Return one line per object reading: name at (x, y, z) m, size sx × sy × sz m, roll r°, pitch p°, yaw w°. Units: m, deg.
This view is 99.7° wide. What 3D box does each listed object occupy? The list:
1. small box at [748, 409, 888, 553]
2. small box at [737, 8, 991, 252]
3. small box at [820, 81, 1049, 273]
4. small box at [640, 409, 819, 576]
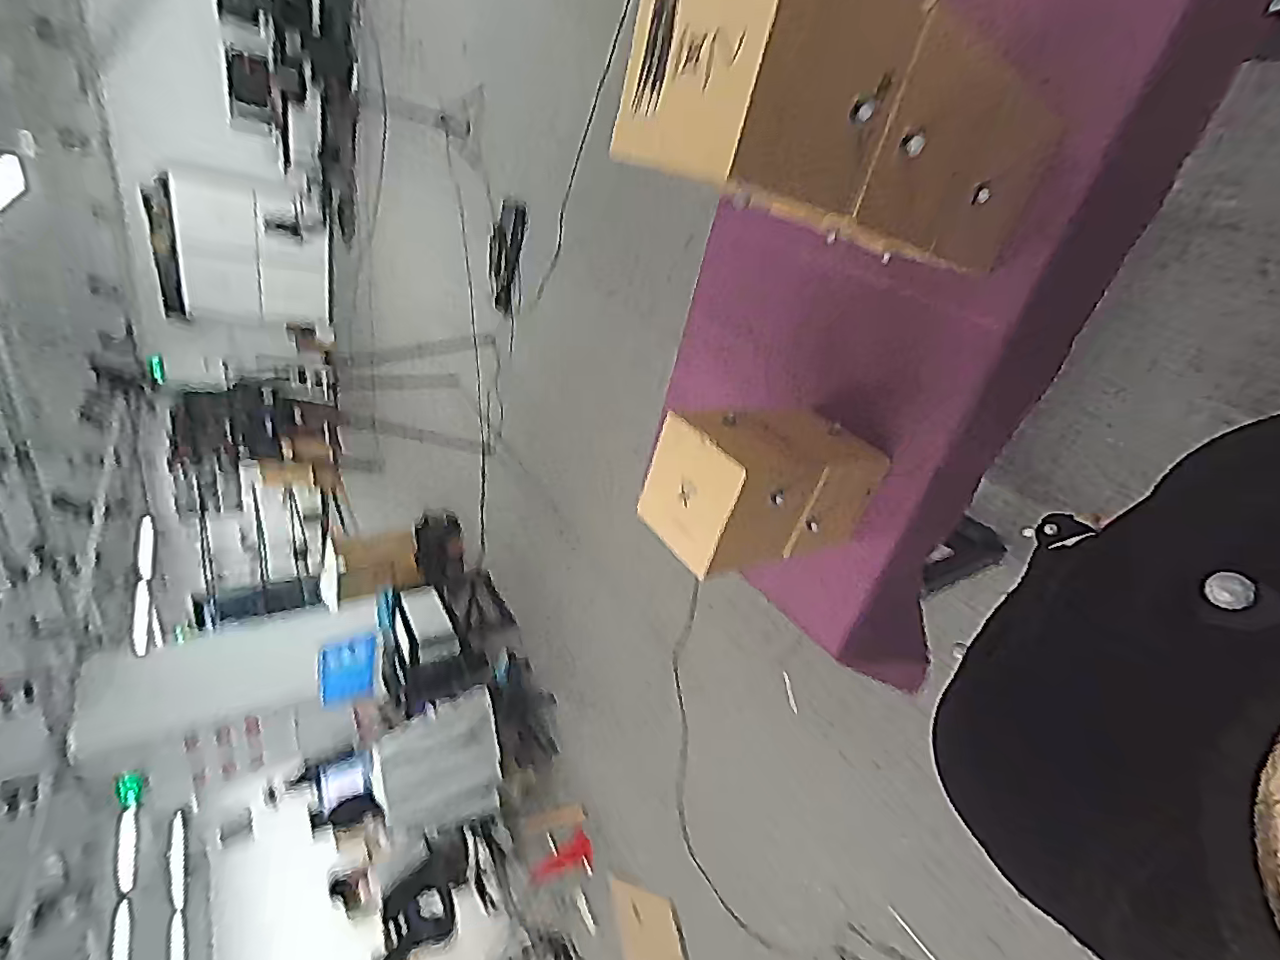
small box at (0.261, -0.005, 0.886) m, size 0.179 × 0.176 × 0.168 m, roll 44°, pitch 129°, yaw 41°
small box at (0.241, -0.366, 0.587) m, size 0.168 × 0.176 × 0.179 m, roll 42°, pitch 127°, yaw 41°
small box at (0.370, -0.377, 0.686) m, size 0.168 × 0.176 × 0.179 m, roll 43°, pitch 127°, yaw 41°
small box at (0.130, 0.008, 0.788) m, size 0.168 × 0.176 × 0.179 m, roll 45°, pitch 129°, yaw 40°
